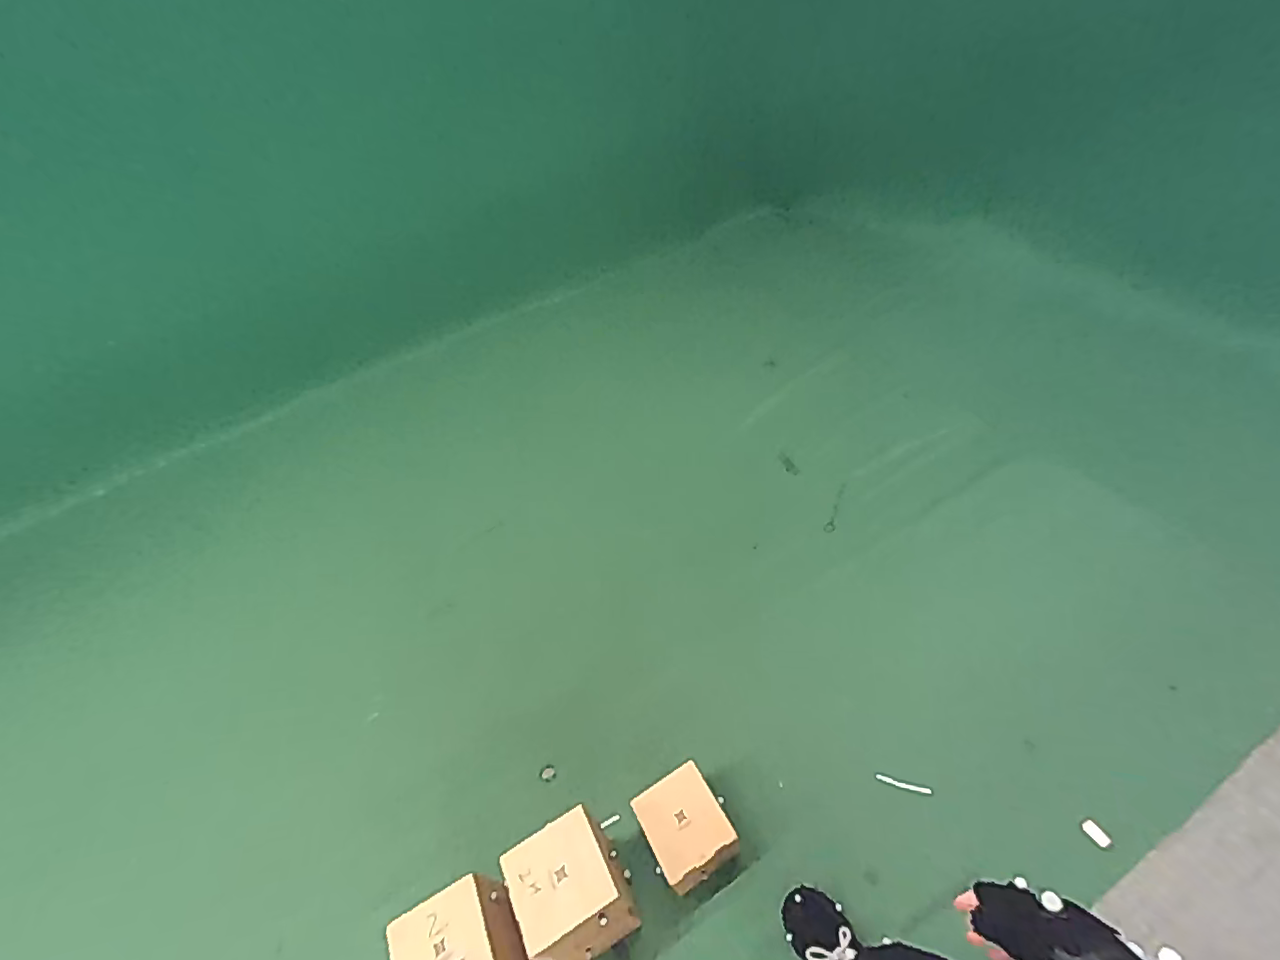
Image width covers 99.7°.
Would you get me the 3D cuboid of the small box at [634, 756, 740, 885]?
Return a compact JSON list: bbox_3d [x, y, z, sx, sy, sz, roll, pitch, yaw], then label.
[{"bbox_3d":[0.107,0.767,1.215,0.168,0.176,0.179,-29,50,-14],"label":"small box"}]
